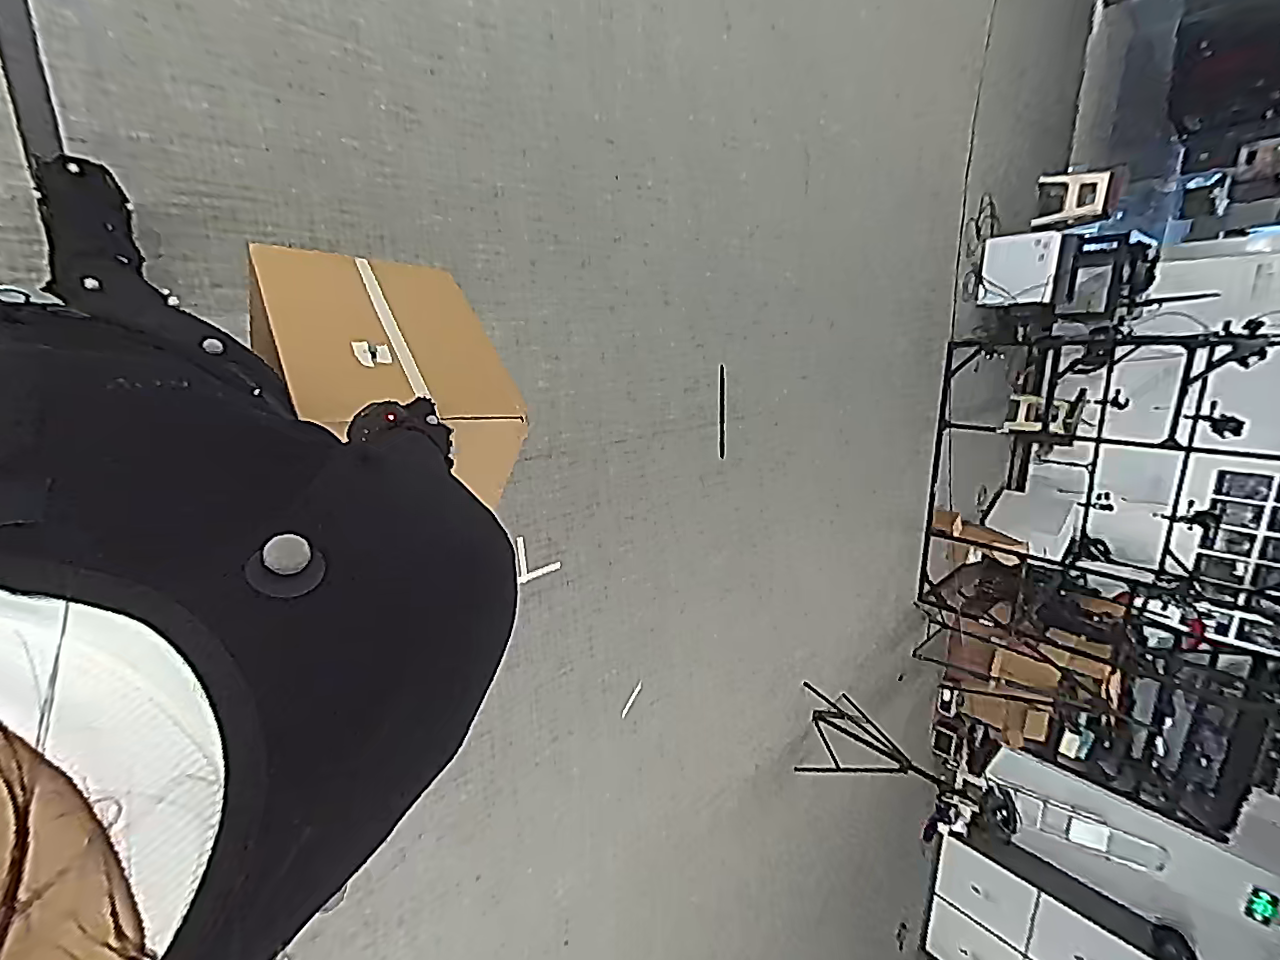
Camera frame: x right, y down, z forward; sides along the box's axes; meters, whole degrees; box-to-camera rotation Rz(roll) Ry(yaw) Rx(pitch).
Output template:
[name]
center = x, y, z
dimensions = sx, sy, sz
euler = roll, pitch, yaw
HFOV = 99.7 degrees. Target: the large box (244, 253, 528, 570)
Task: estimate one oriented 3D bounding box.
[large box]
center = -0.453, -0.118, 0.923
dimensions = 0.320, 0.408, 0.320
euler = -9, 144, -40
